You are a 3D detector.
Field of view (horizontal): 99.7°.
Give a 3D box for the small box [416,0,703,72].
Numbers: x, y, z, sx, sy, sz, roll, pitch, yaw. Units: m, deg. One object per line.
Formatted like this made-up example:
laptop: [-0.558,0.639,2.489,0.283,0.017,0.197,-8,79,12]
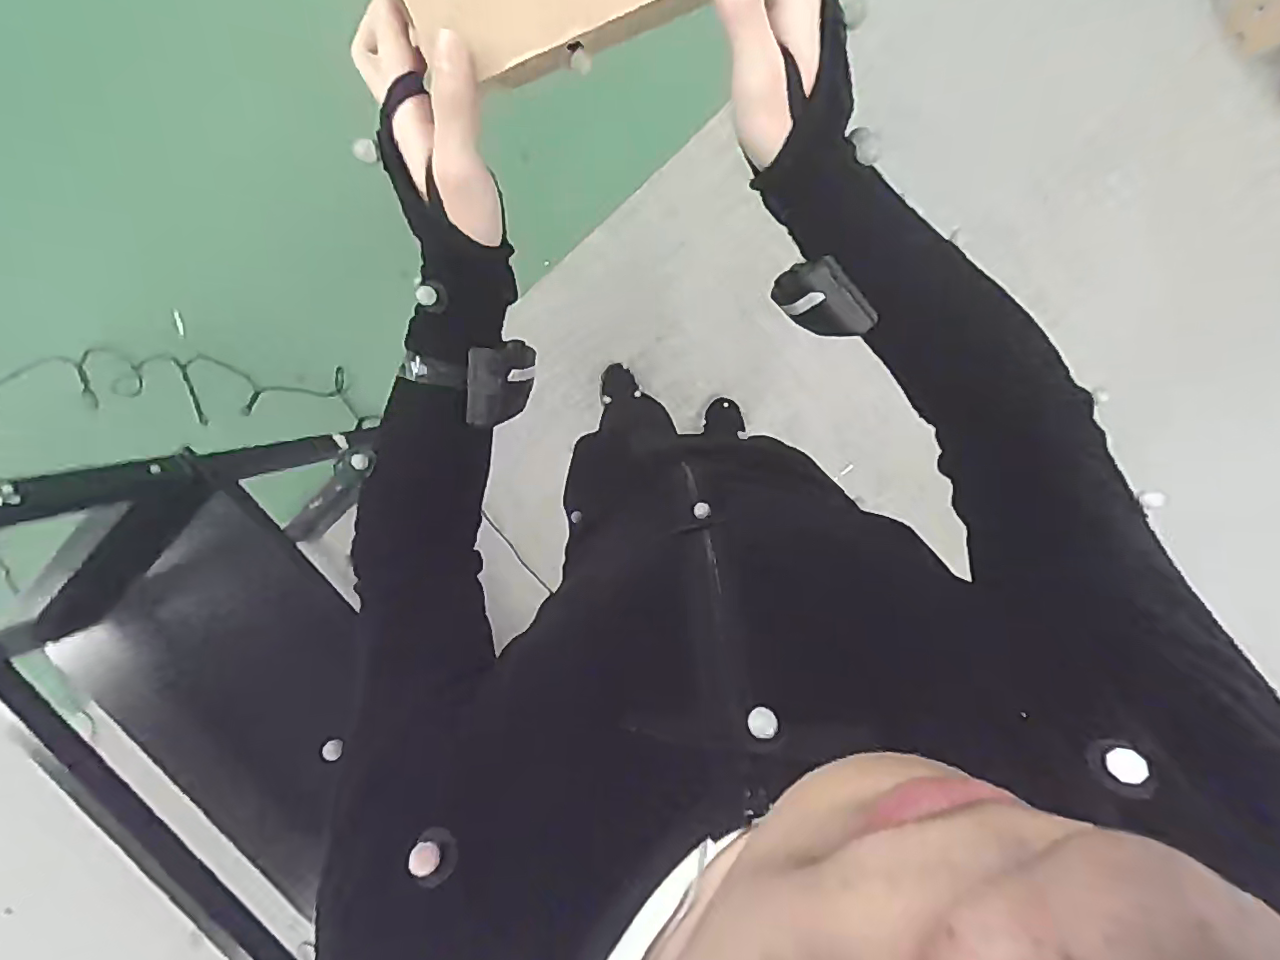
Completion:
small box: [-0.044,-0.356,0.305,0.179,0.176,0.168,-12,125,14]
